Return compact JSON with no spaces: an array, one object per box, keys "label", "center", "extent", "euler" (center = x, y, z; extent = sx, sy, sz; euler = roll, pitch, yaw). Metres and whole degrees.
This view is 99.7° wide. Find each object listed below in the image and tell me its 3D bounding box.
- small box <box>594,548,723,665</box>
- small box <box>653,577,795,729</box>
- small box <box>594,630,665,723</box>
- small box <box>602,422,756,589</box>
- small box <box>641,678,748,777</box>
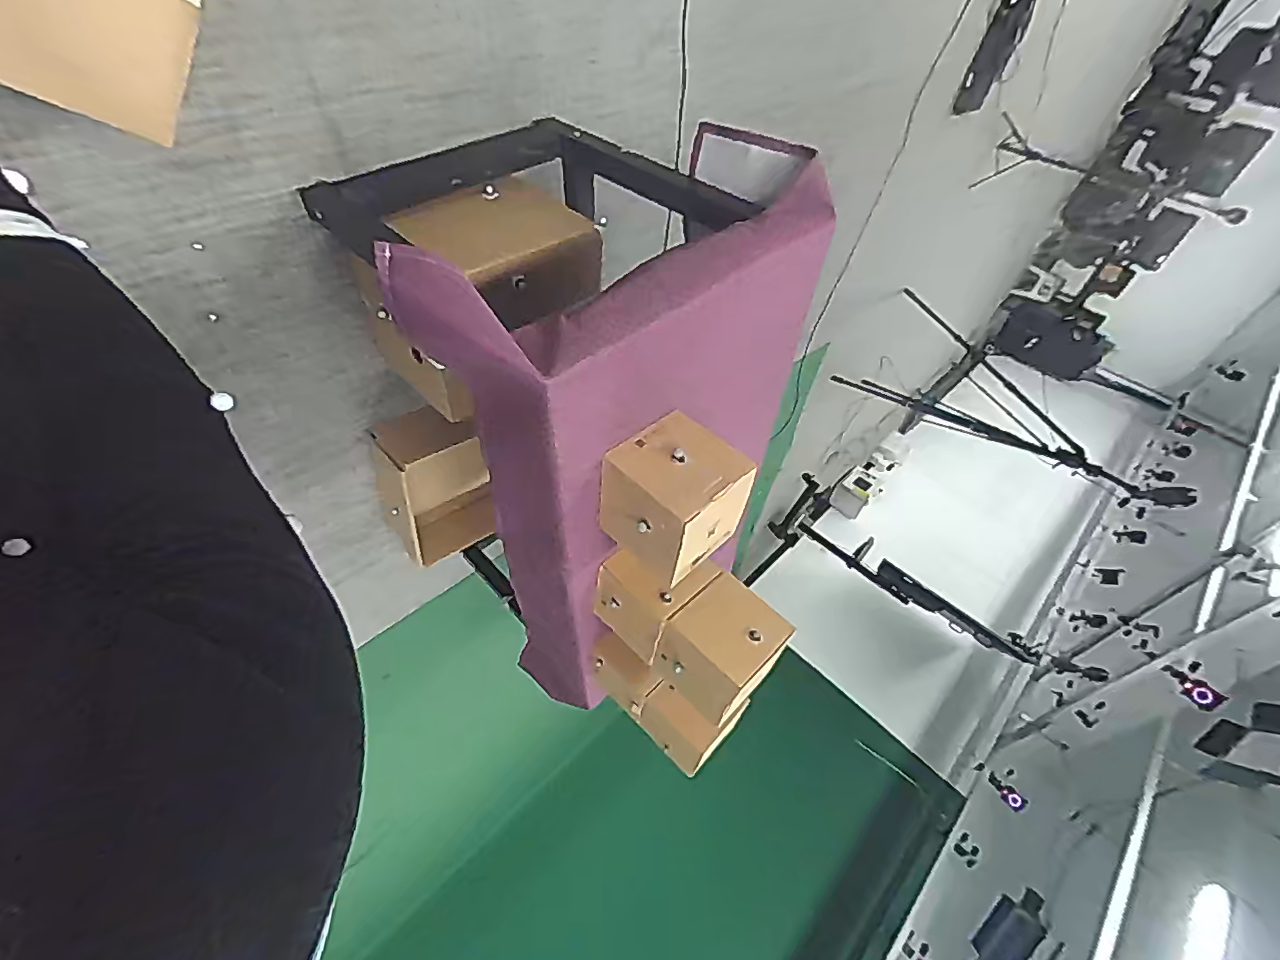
[{"label":"small box","center":[0.033,0.224,1.083],"extent":[0.179,0.176,0.168],"euler":[-30,147,-34]},{"label":"small box","center":[0.152,0.316,1.015],"extent":[0.179,0.176,0.168],"euler":[-30,147,-35]},{"label":"small box","center":[0.003,0.443,1.316],"extent":[0.179,0.176,0.168],"euler":[-35,150,-31]},{"label":"small box","center":[0.053,0.031,0.858],"extent":[0.168,0.176,0.179],"euler":[-33,148,-30]},{"label":"small box","center":[0.118,0.538,1.249],"extent":[0.168,0.176,0.179],"euler":[-34,149,-32]}]
